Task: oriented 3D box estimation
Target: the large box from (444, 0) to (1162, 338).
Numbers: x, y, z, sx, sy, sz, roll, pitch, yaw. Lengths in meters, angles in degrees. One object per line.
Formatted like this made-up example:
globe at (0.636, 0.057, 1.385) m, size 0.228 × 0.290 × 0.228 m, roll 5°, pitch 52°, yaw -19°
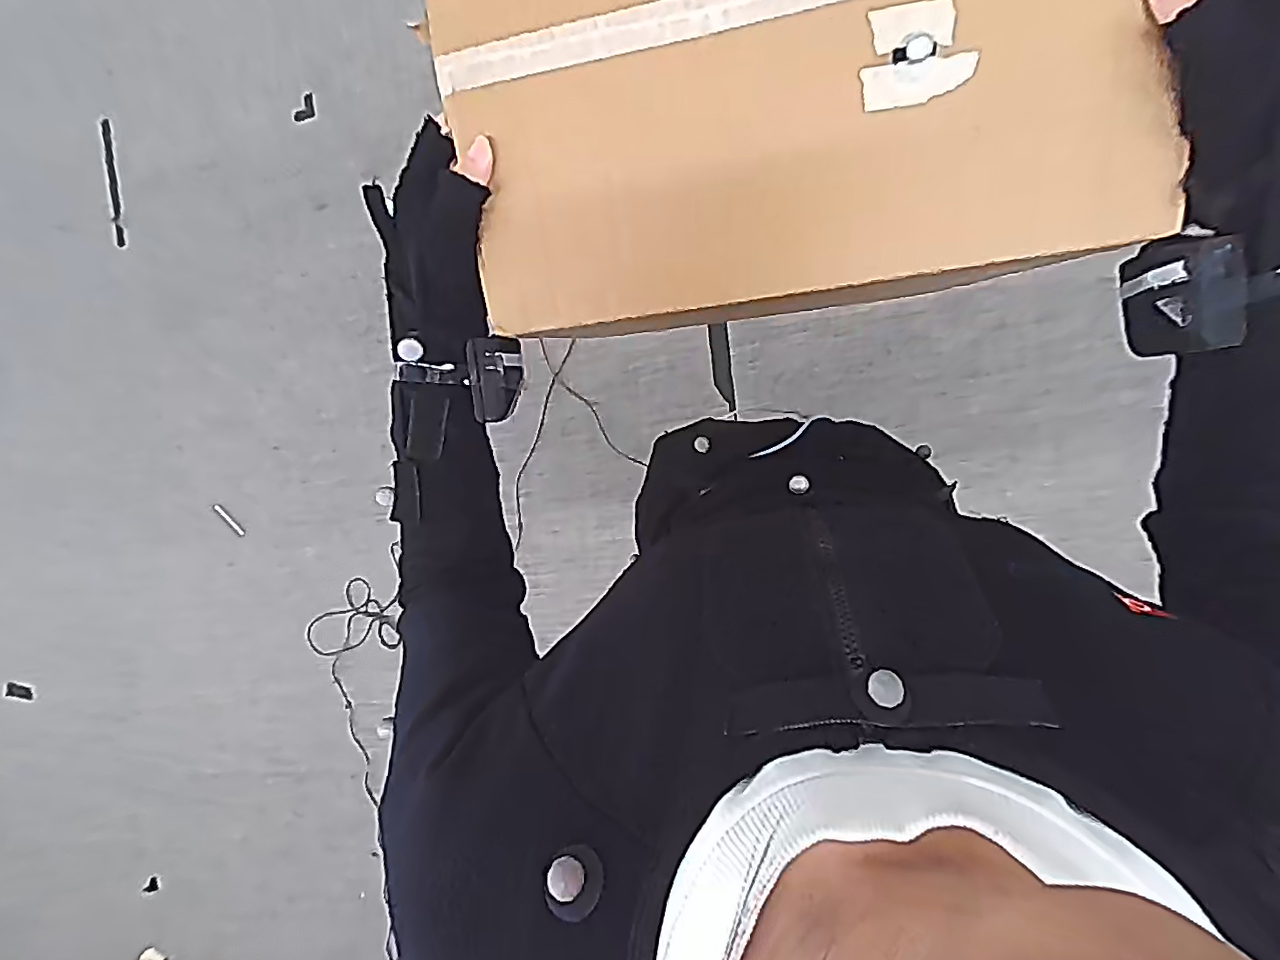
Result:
large box at (0.097, -0.309, 0.456) m, size 0.408 × 0.320 × 0.320 m, roll -6°, pitch 104°, yaw 9°
